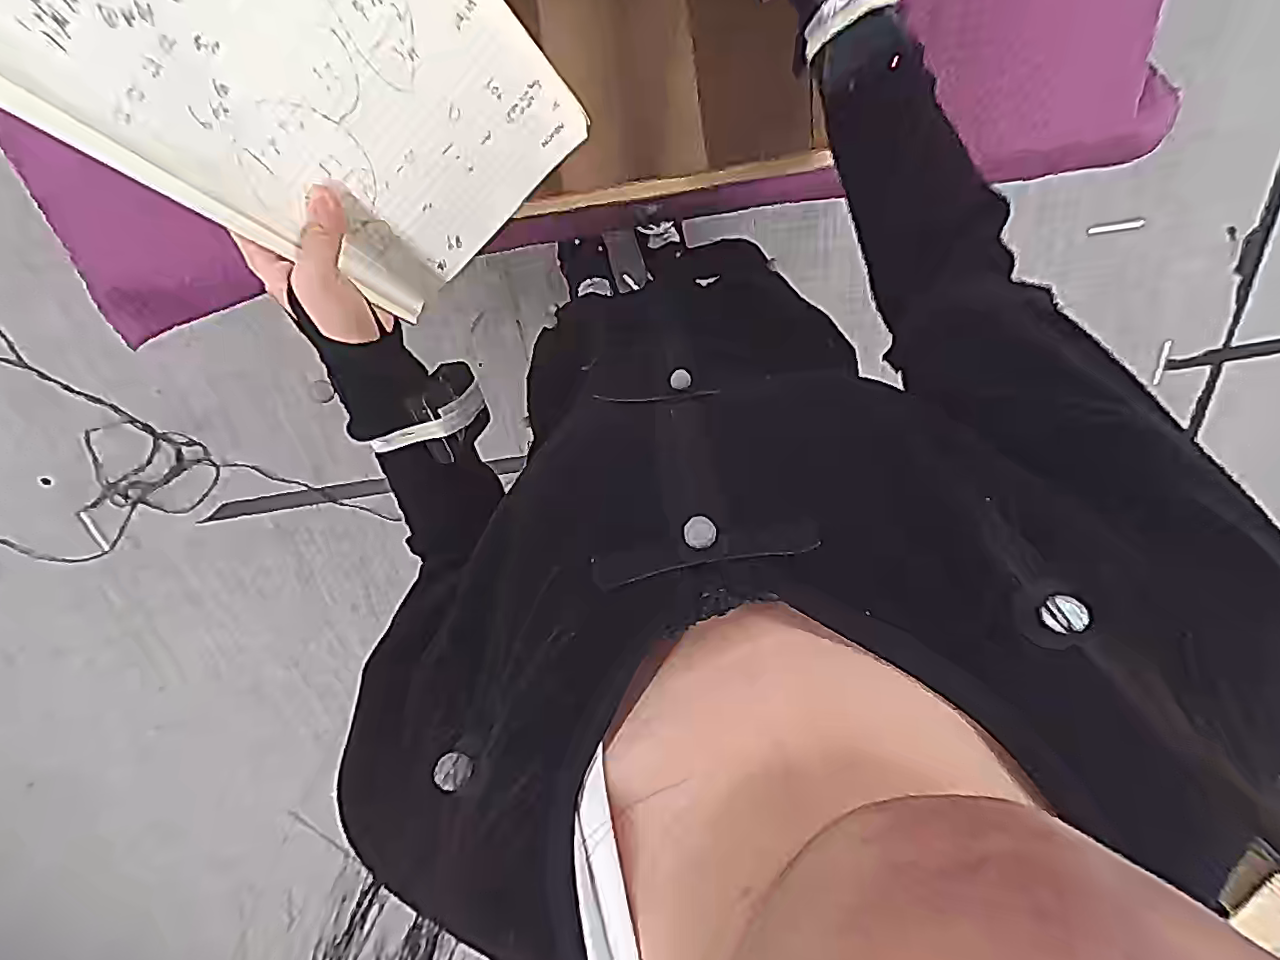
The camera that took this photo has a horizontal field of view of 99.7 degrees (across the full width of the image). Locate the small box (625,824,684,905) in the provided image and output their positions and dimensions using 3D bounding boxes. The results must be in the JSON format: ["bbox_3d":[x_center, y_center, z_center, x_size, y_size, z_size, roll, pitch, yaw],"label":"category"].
[{"bbox_3d":[0.047,1.323,1.876,0.168,0.176,0.179,-12,119,0],"label":"small box"}]
